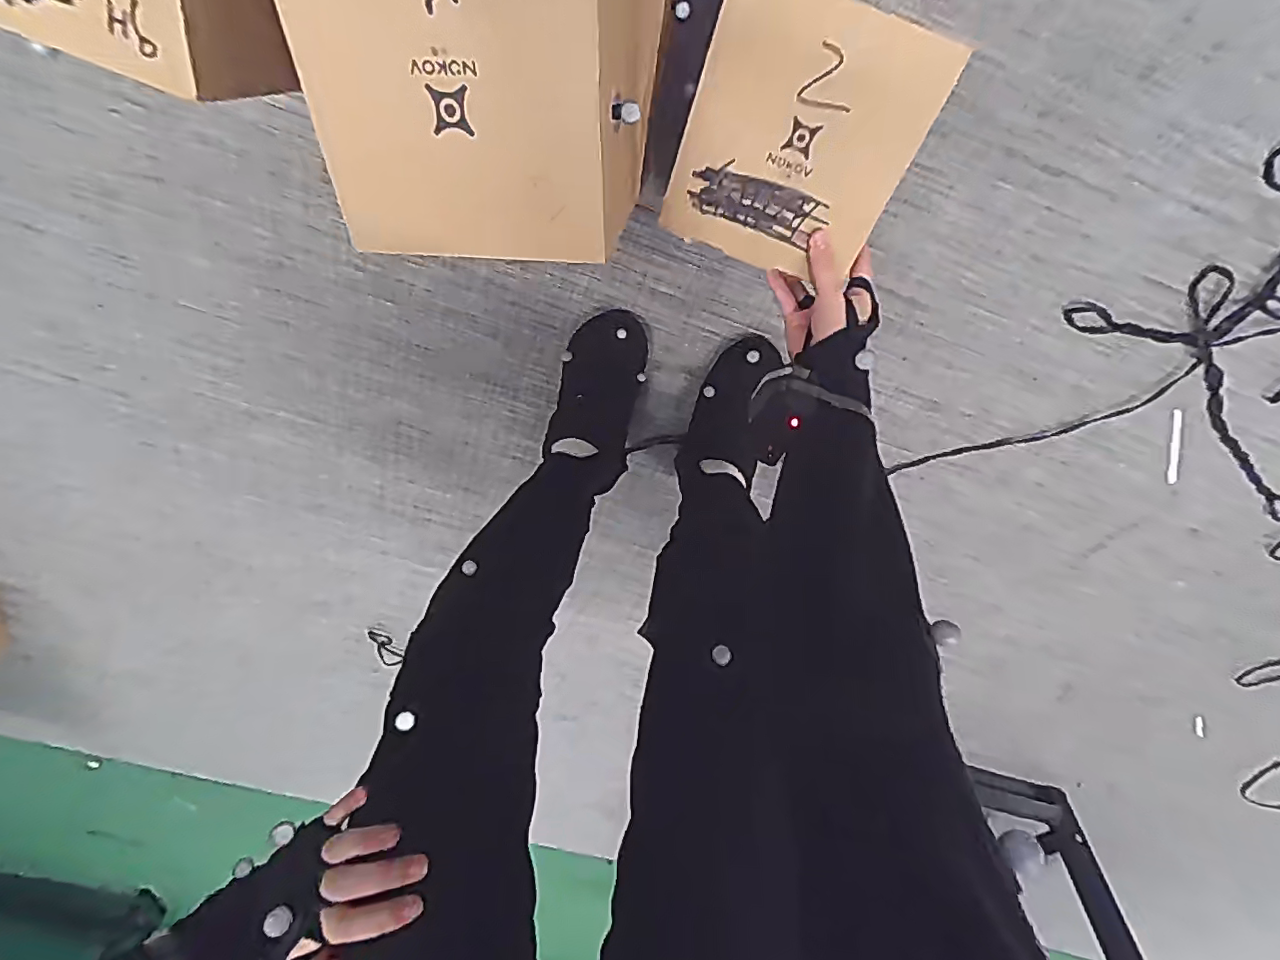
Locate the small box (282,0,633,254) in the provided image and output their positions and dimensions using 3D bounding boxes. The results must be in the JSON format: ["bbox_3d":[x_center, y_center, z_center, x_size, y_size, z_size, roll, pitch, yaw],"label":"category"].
[{"bbox_3d":[-0.094,-0.266,0.350,0.168,0.176,0.179,5,129,3],"label":"small box"}]
